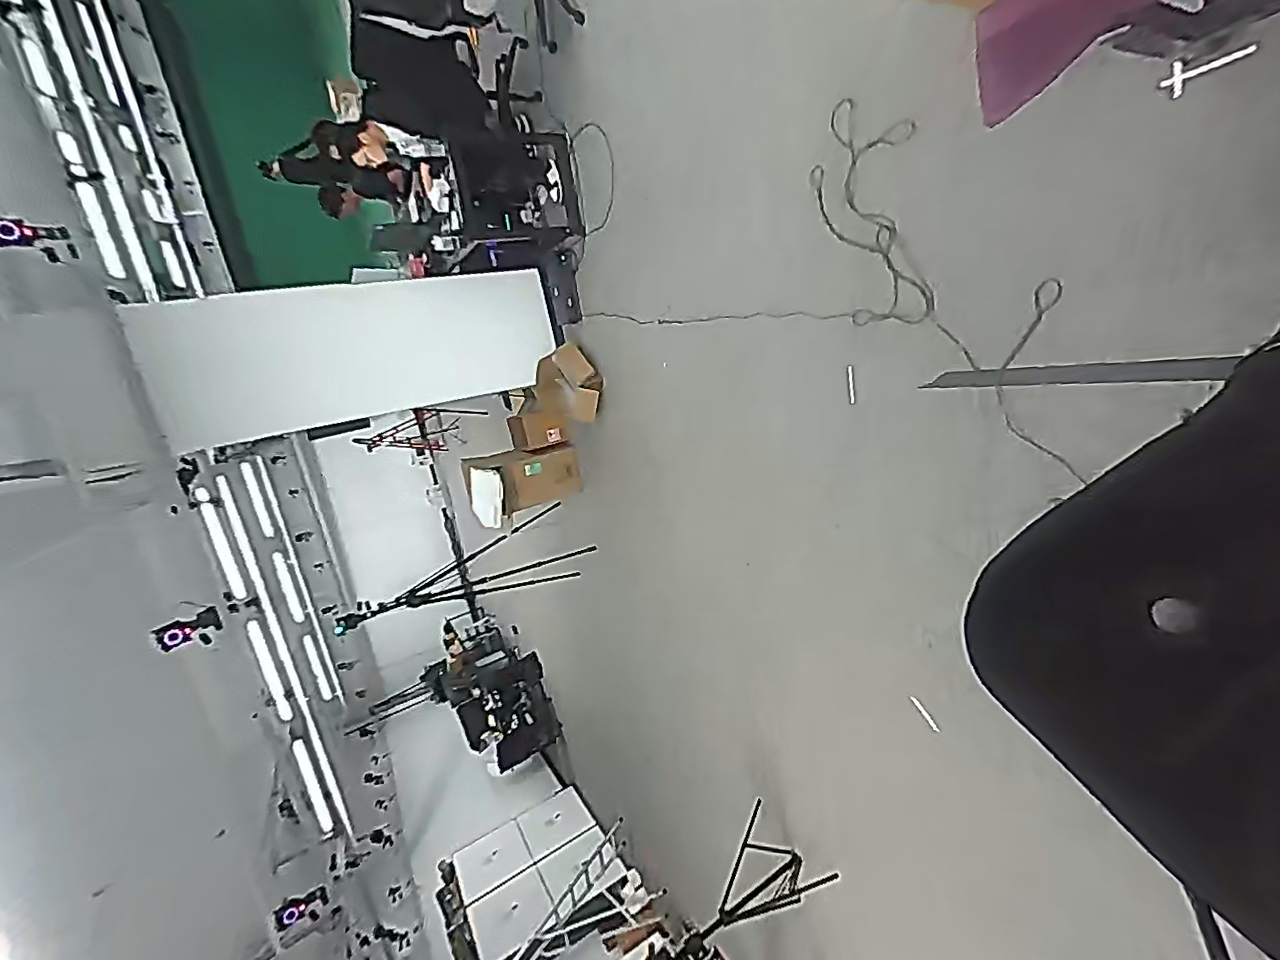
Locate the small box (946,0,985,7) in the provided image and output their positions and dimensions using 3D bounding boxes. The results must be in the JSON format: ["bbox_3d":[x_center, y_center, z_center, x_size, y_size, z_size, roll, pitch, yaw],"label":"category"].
[{"bbox_3d":[0.428,-0.719,0.647,0.179,0.176,0.168,3,108,60],"label":"small box"}]
